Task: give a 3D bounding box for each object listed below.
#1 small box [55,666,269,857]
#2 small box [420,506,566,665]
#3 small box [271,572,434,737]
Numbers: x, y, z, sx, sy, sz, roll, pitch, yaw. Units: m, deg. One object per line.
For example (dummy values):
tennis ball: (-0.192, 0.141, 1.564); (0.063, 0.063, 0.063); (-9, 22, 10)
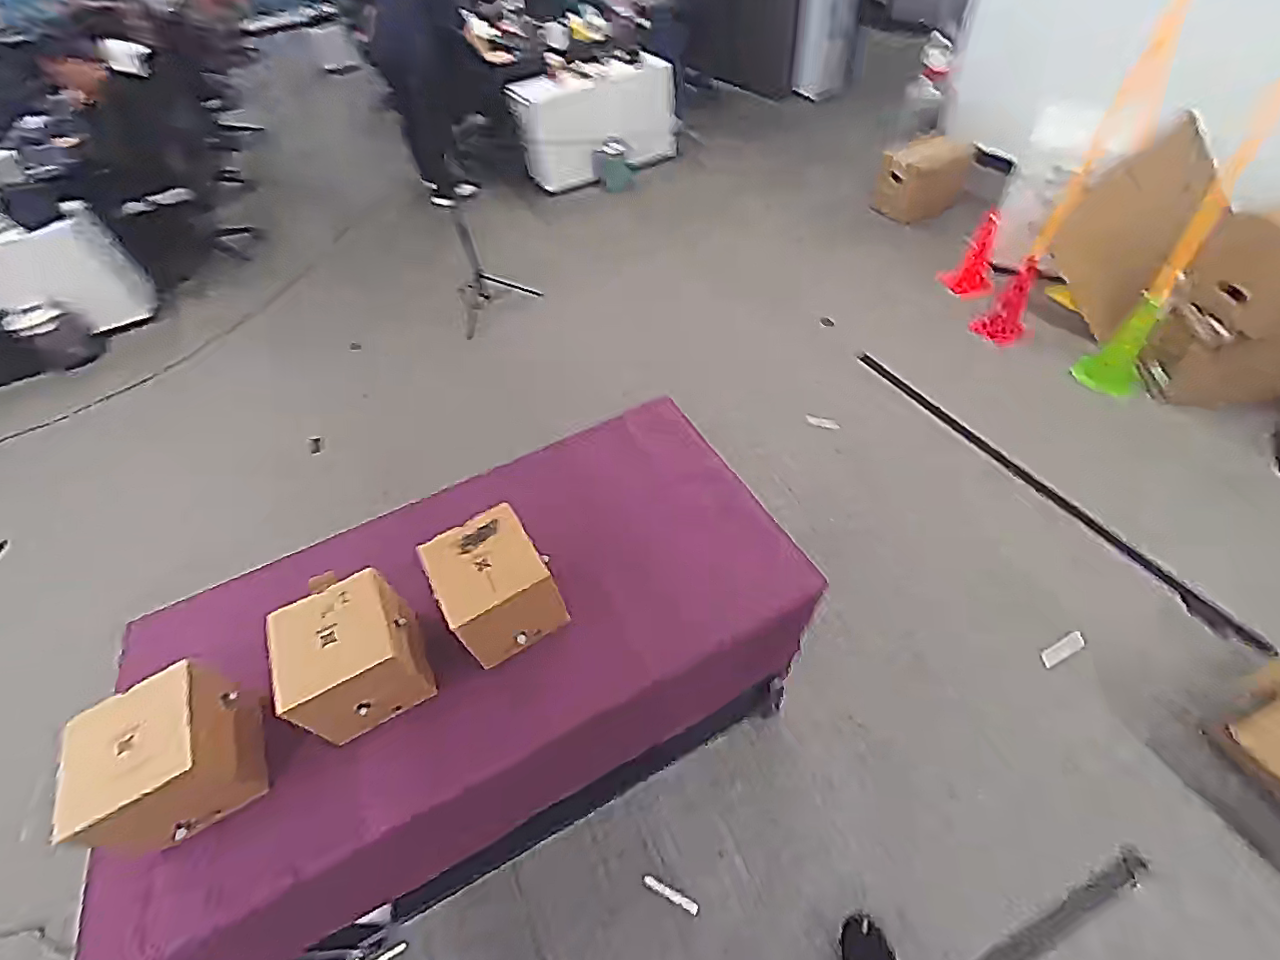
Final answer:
small box: (-0.689, 0.418, 0.802); (0.168, 0.176, 0.179); (-29, 52, -15)
small box: (-0.249, 0.185, 0.935); (0.168, 0.176, 0.179); (-30, 54, -16)
small box: (-0.458, 0.290, 0.876); (0.168, 0.176, 0.179); (-27, 52, -14)
